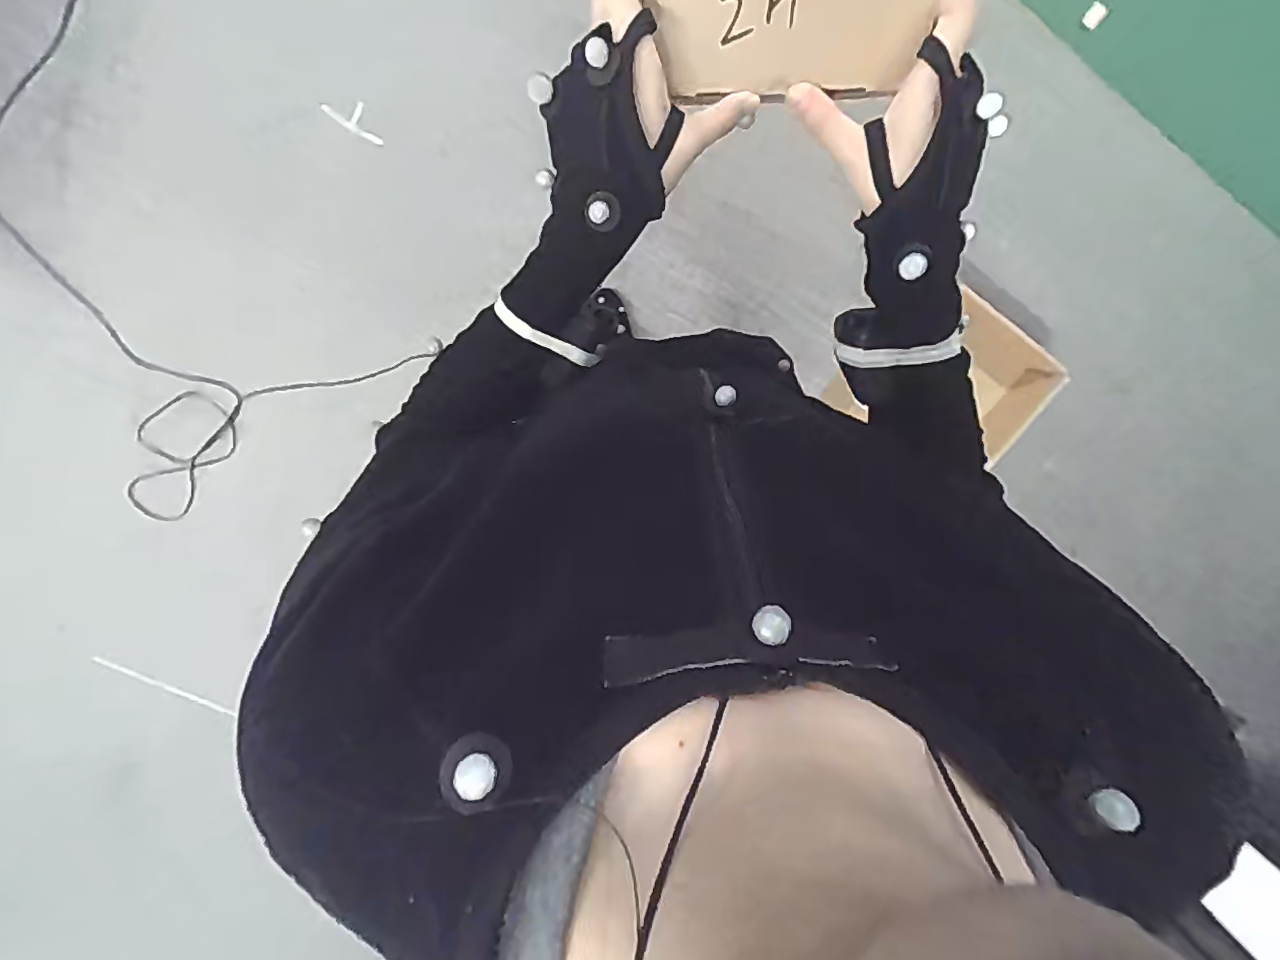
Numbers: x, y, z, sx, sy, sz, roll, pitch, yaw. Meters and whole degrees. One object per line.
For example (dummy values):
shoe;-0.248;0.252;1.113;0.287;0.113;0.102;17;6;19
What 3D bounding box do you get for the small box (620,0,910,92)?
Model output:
small box;0.069;-0.361;0.342;0.168;0.176;0.179;-1;123;1
